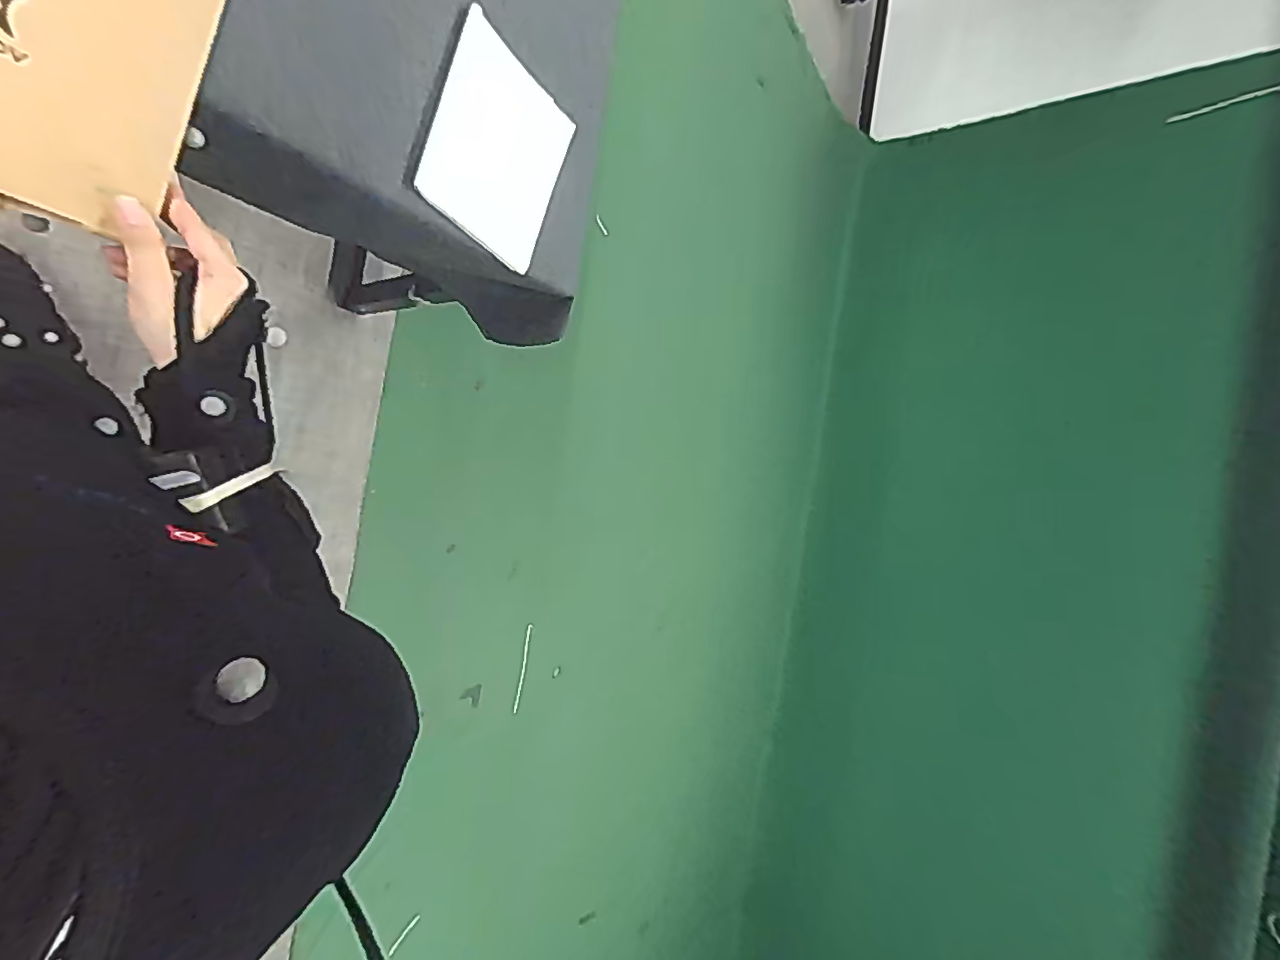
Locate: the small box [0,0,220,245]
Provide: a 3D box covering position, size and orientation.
[{"bbox_3d":[-0.380,-0.265,0.314,0.168,0.176,0.179,14,99,-52],"label":"small box"}]
